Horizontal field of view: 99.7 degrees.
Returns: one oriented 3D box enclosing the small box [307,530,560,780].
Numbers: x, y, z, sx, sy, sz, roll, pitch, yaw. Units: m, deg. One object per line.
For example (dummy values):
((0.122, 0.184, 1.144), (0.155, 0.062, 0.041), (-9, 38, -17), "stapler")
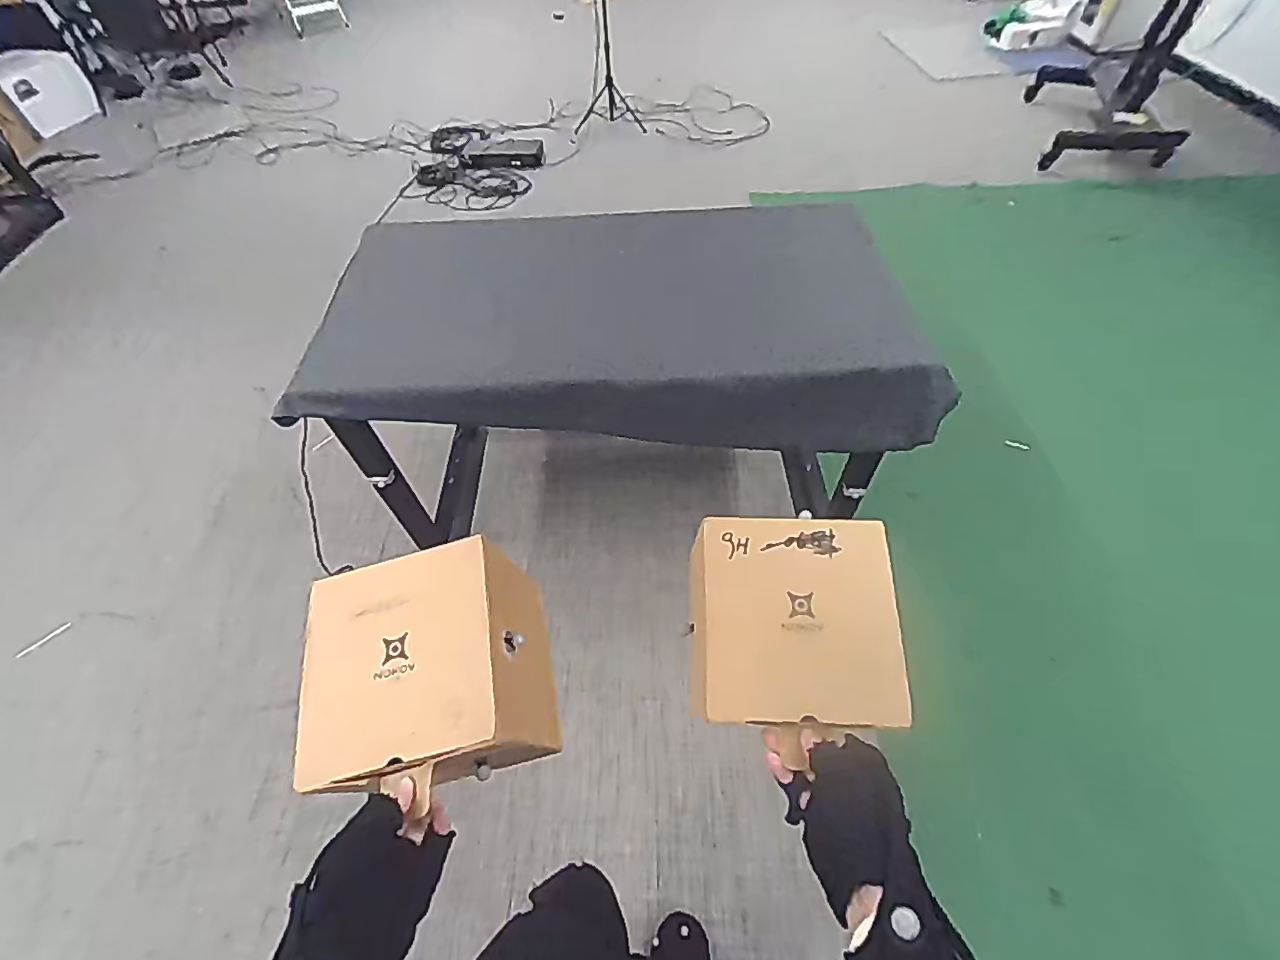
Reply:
((-0.186, 0.177, 0.528), (0.168, 0.176, 0.179), (-16, 59, 1), "small box")
